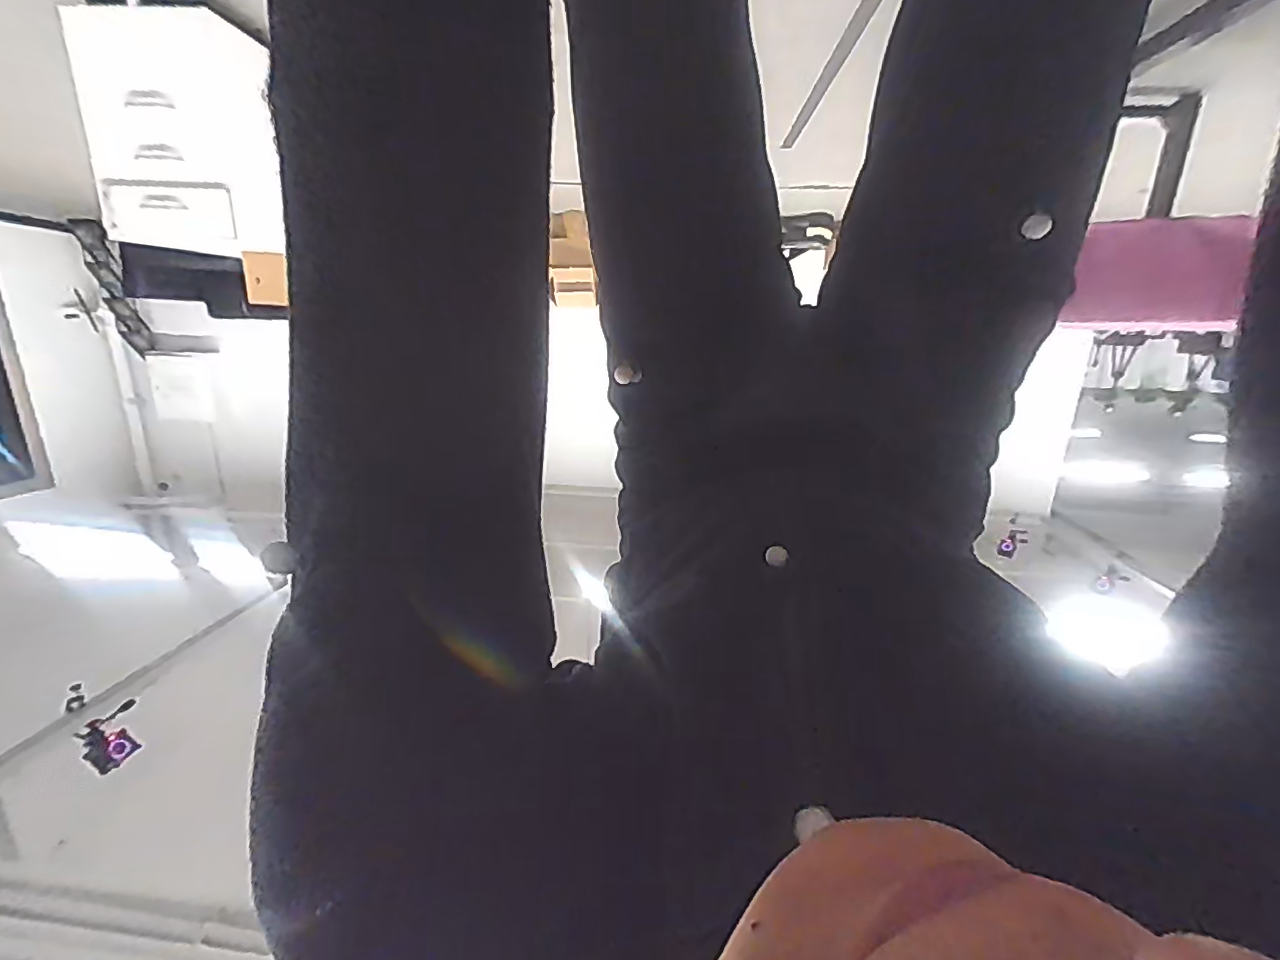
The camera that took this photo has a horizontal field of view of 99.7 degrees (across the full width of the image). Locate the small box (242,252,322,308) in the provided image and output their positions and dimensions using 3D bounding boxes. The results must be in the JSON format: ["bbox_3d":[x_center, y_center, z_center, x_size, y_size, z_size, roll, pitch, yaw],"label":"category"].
[{"bbox_3d":[-1.236,-0.691,1.868,0.179,0.176,0.168,3,-163,1],"label":"small box"}]
